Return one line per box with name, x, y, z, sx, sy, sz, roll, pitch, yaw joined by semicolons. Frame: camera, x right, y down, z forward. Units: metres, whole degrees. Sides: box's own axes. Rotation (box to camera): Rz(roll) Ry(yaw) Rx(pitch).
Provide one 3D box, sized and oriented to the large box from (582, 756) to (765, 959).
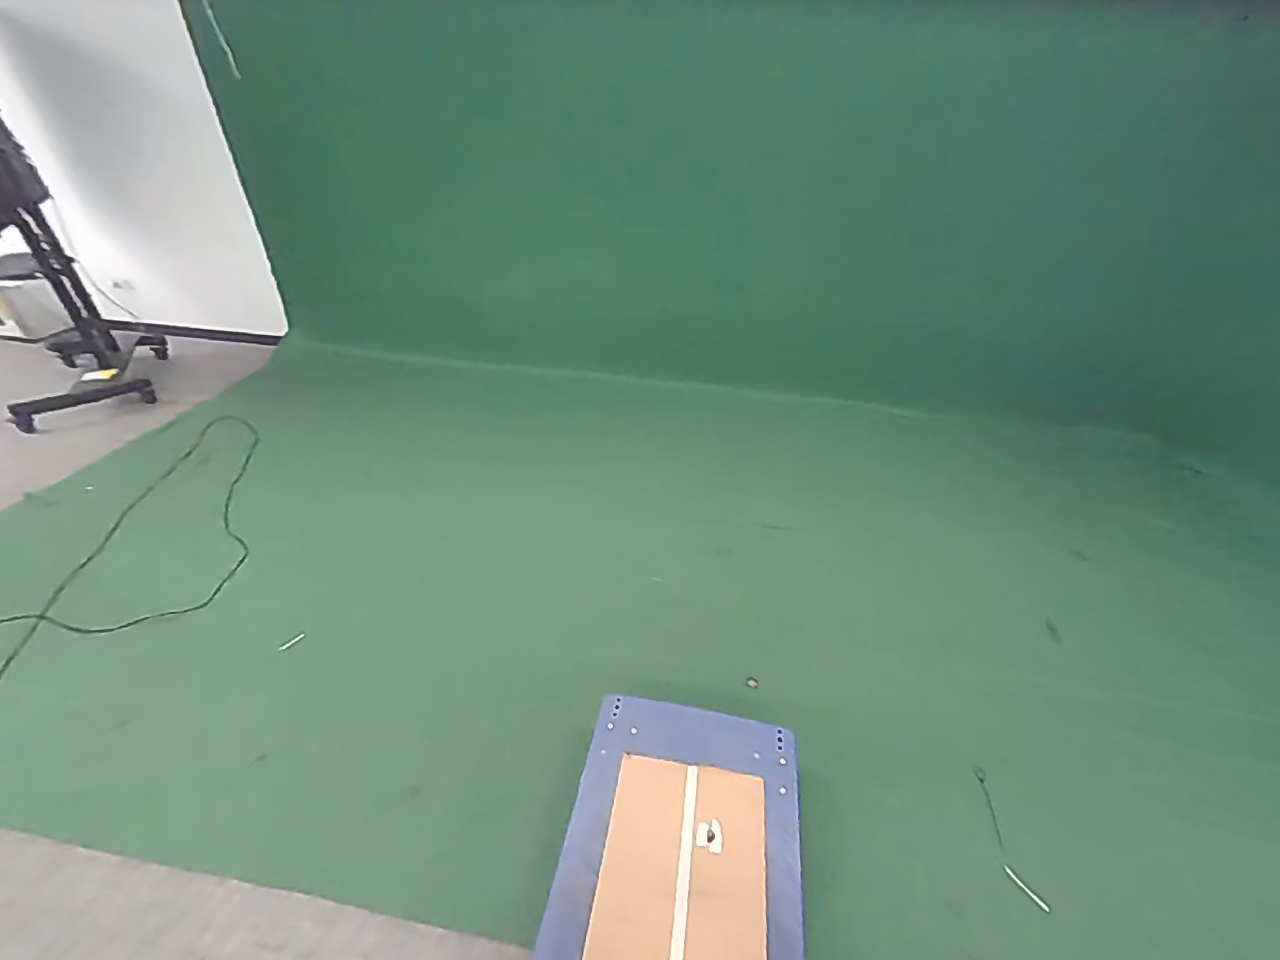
large box;0.076;0.870;1.123;0.320;0.320;0.408;7;36;7
